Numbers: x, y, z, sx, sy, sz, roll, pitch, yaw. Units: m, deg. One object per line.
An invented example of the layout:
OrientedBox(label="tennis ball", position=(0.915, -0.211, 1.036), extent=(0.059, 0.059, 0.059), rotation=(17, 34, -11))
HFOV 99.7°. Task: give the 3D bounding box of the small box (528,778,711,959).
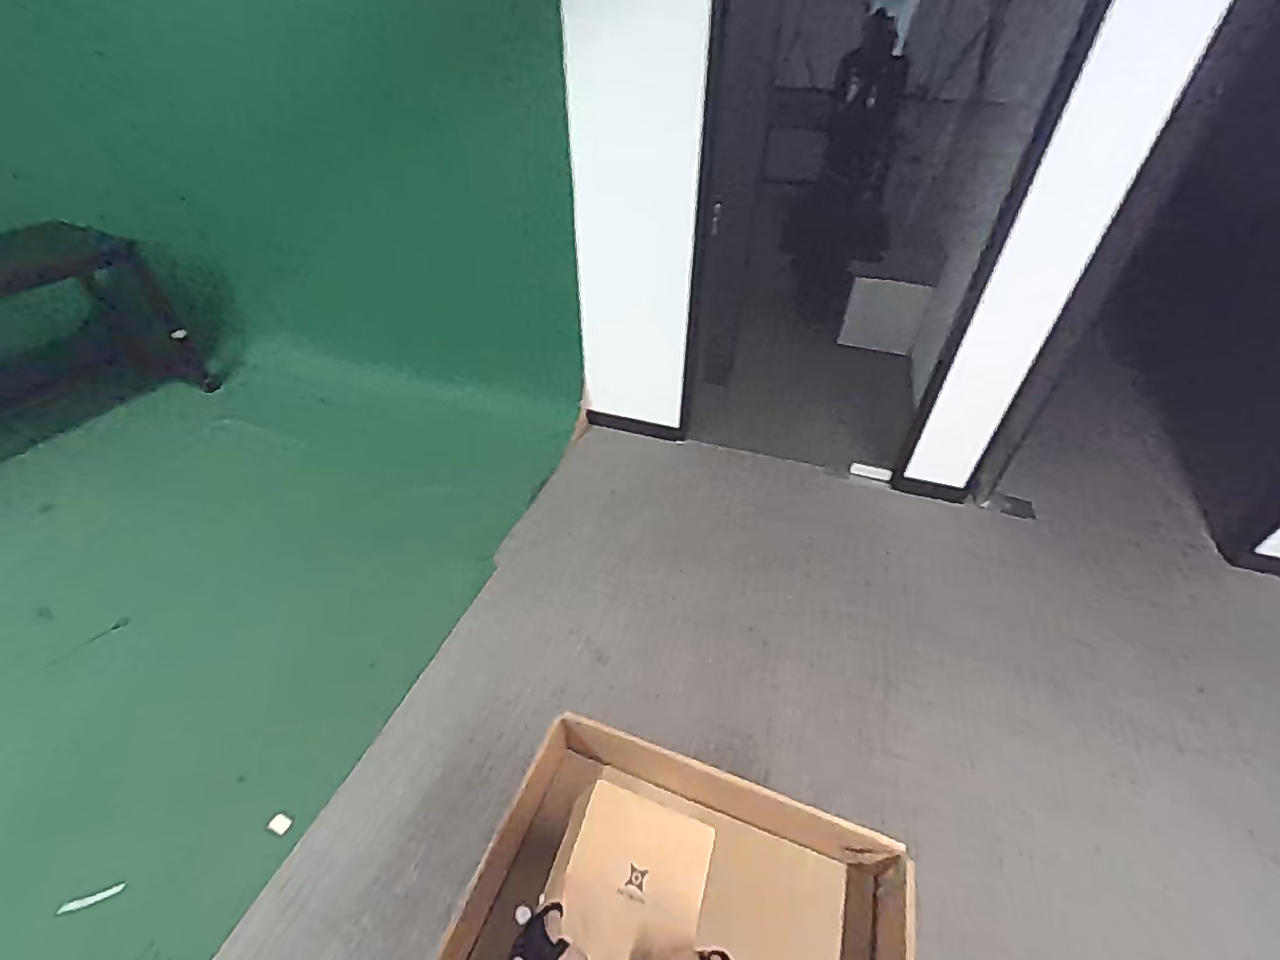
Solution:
OrientedBox(label="small box", position=(-0.031, 0.511, 0.684), extent=(0.168, 0.176, 0.179), rotation=(23, 51, 1))
